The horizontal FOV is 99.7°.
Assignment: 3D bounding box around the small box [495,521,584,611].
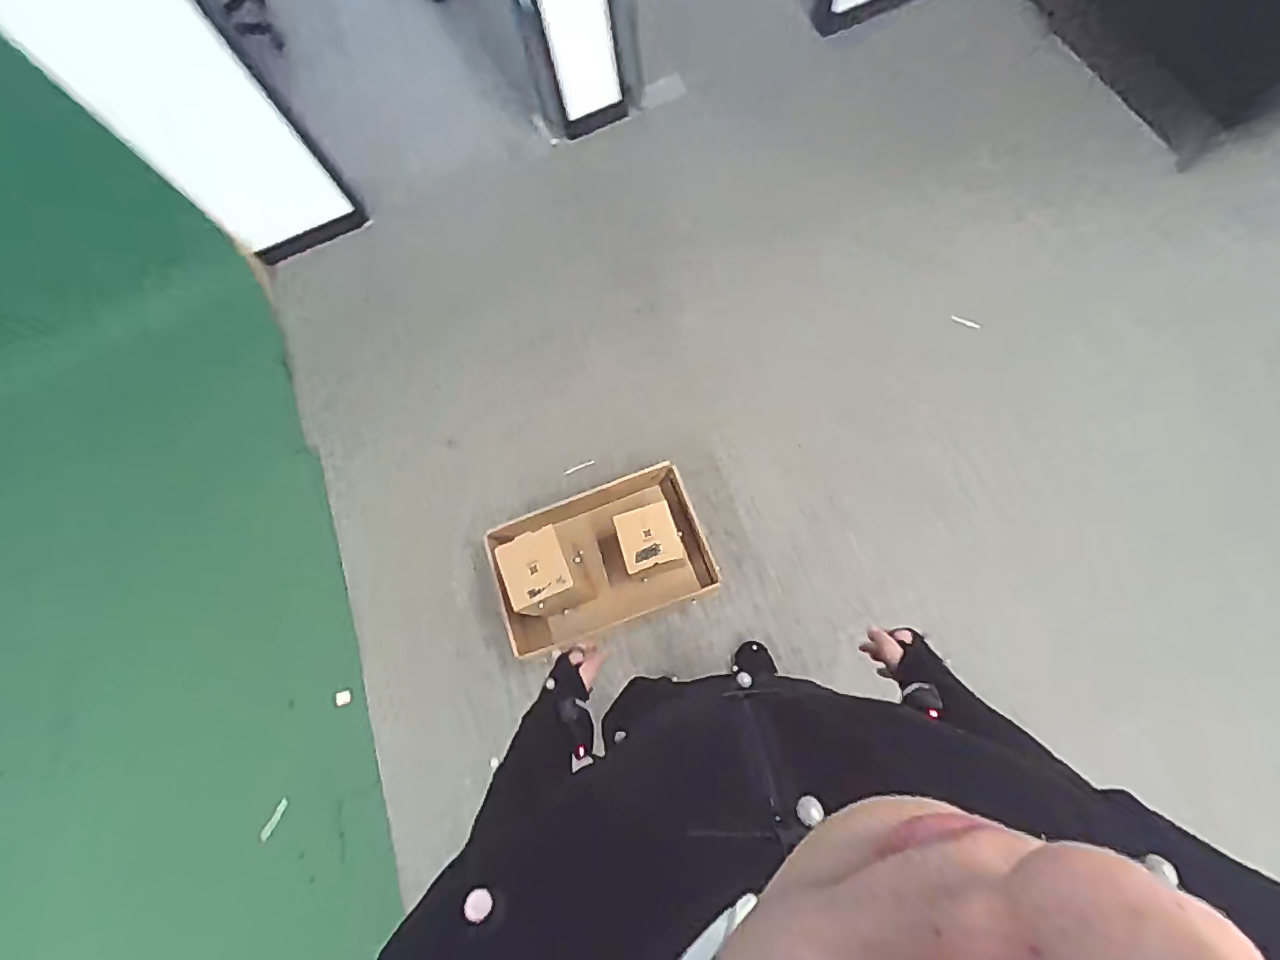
[{"bbox_3d":[-0.264,0.234,1.444,0.168,0.176,0.179,-23,71,-2],"label":"small box"}]
